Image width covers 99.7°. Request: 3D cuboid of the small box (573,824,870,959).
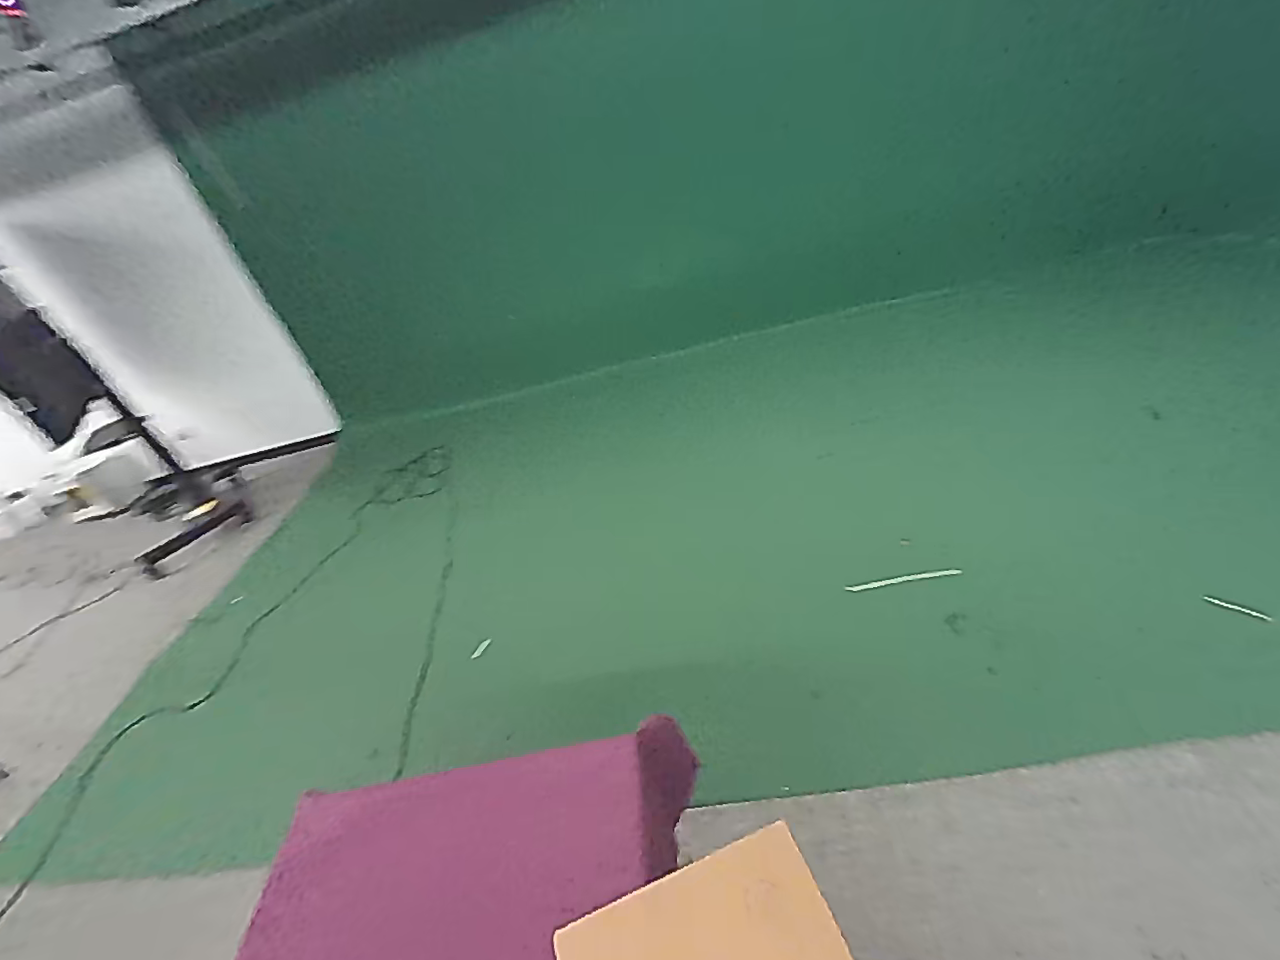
[{"bbox_3d":[0.072,0.376,0.372,0.179,0.176,0.168,-20,44,-7],"label":"small box"}]
